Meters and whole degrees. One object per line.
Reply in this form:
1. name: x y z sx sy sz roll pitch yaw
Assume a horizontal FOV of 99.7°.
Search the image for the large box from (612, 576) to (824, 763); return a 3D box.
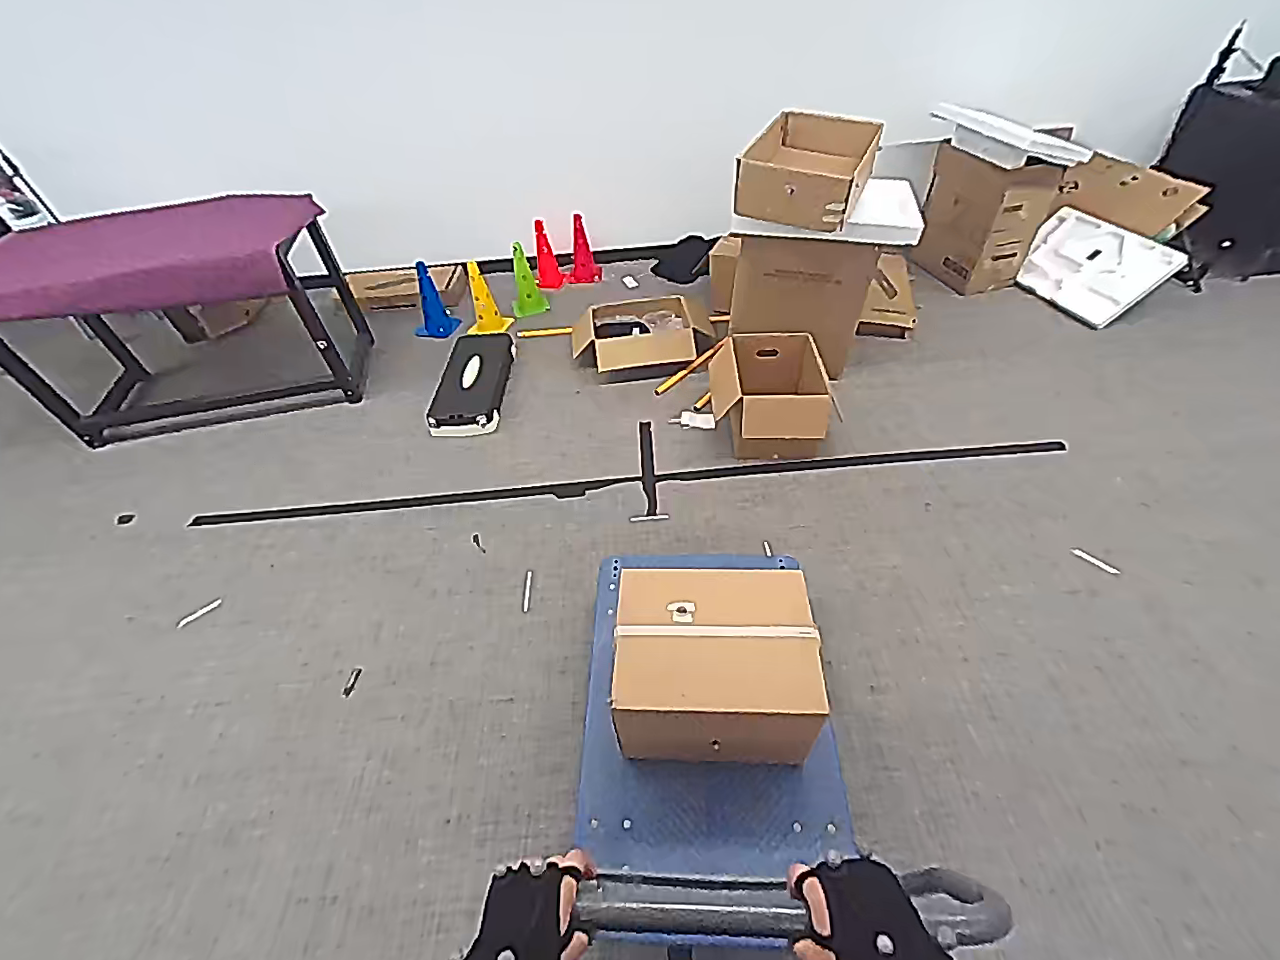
1. large box: 0.160 0.434 1.223 0.408 0.320 0.320 -2 46 4
